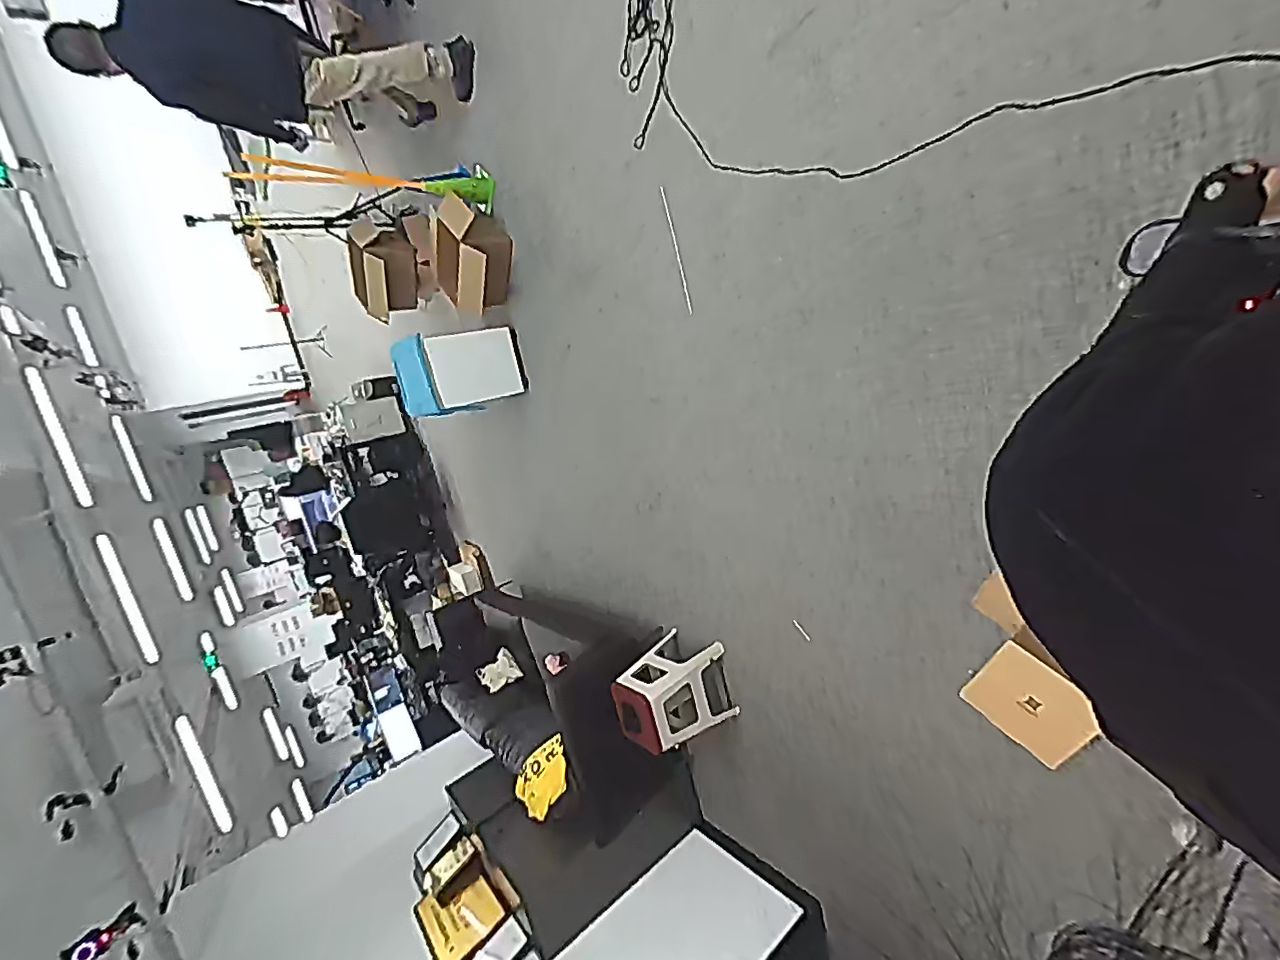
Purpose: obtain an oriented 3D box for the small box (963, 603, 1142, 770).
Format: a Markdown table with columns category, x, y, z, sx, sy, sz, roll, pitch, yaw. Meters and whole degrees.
| category | x | y | z | sx | sy | sz | roll | pitch | yaw |
| --- | --- | --- | --- | --- | --- | --- | --- | --- | --- |
| small box | 0.709 | 0.345 | 0.930 | 0.168 | 0.176 | 0.179 | 41 | 138 | 35 |
